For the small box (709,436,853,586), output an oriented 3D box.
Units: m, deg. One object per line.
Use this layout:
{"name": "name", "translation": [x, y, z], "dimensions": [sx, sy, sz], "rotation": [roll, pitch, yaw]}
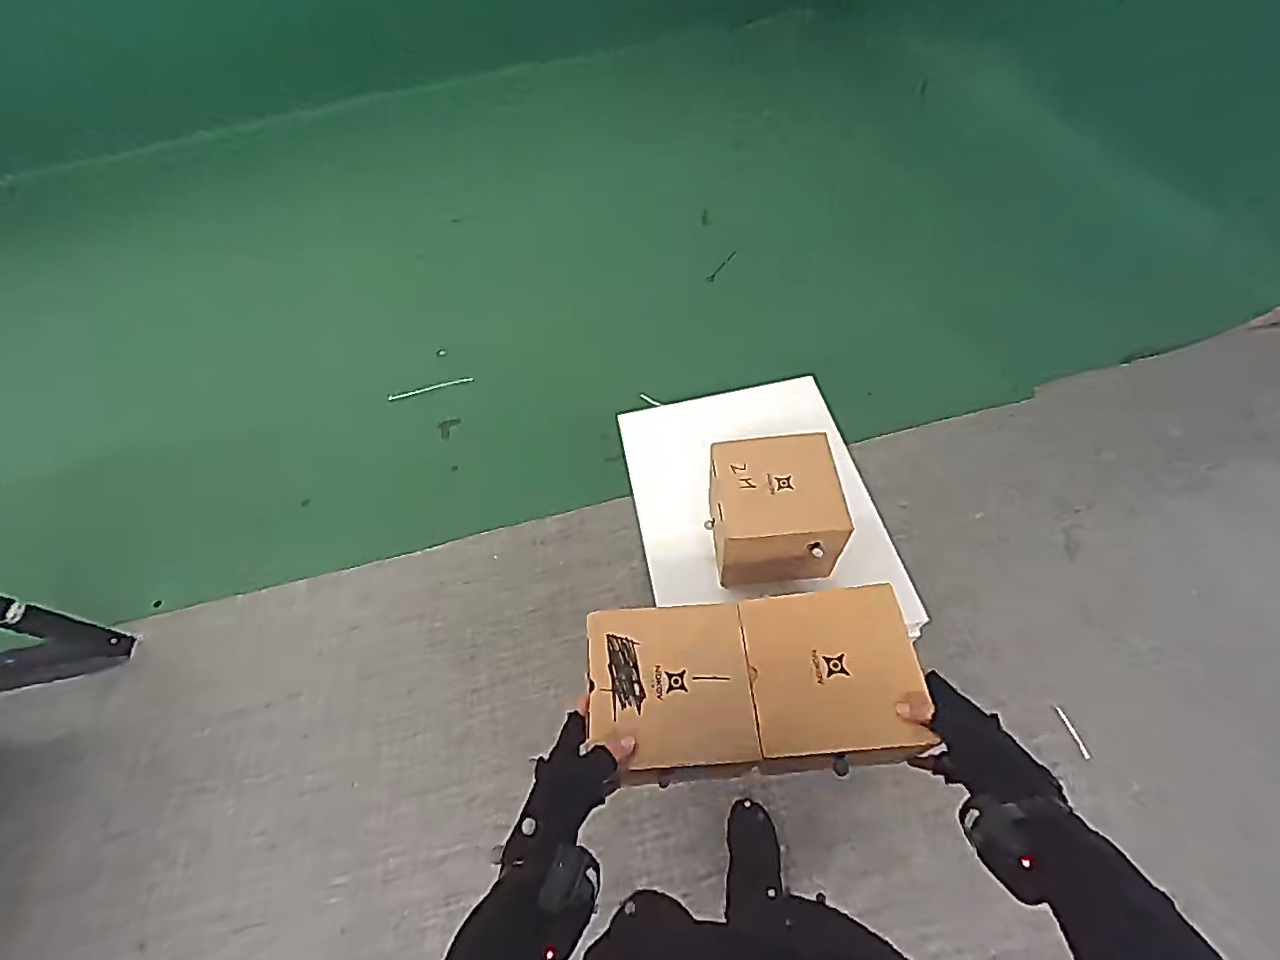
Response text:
{"name": "small box", "translation": [0.202, 0.053, 0.832], "dimensions": [0.179, 0.176, 0.168], "rotation": [-5, 57, 4]}
